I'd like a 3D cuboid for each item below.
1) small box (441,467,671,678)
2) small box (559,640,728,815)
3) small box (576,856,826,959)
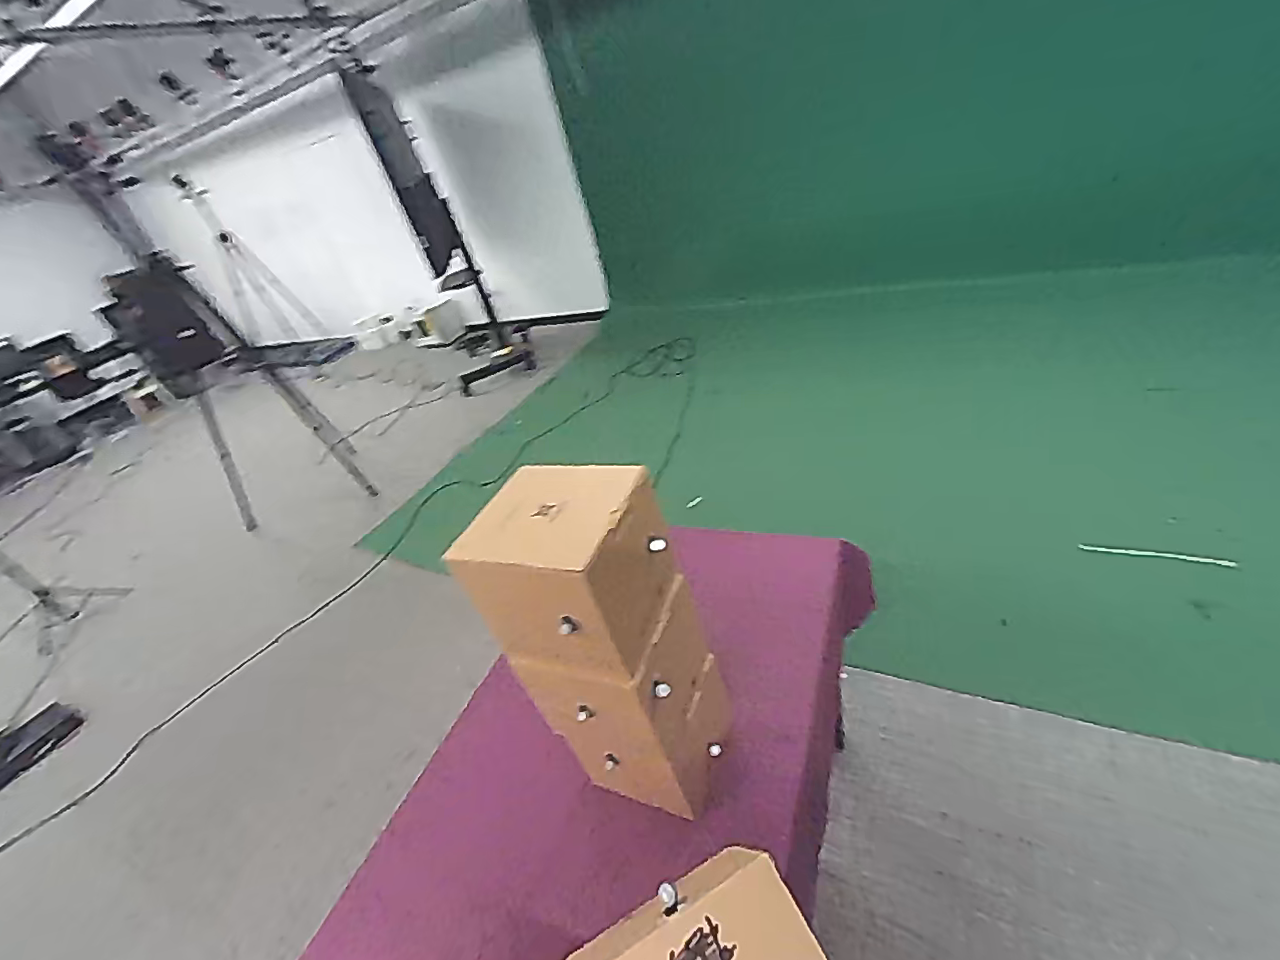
[{"bbox_3d":[-0.080,0.102,0.620,0.179,0.176,0.168,0,38,27],"label":"small box"},{"bbox_3d":[0.015,0.359,0.801,0.179,0.176,0.168,3,40,29],"label":"small box"},{"bbox_3d":[0.052,0.370,0.334,0.168,0.176,0.179,-25,61,-13],"label":"small box"}]
